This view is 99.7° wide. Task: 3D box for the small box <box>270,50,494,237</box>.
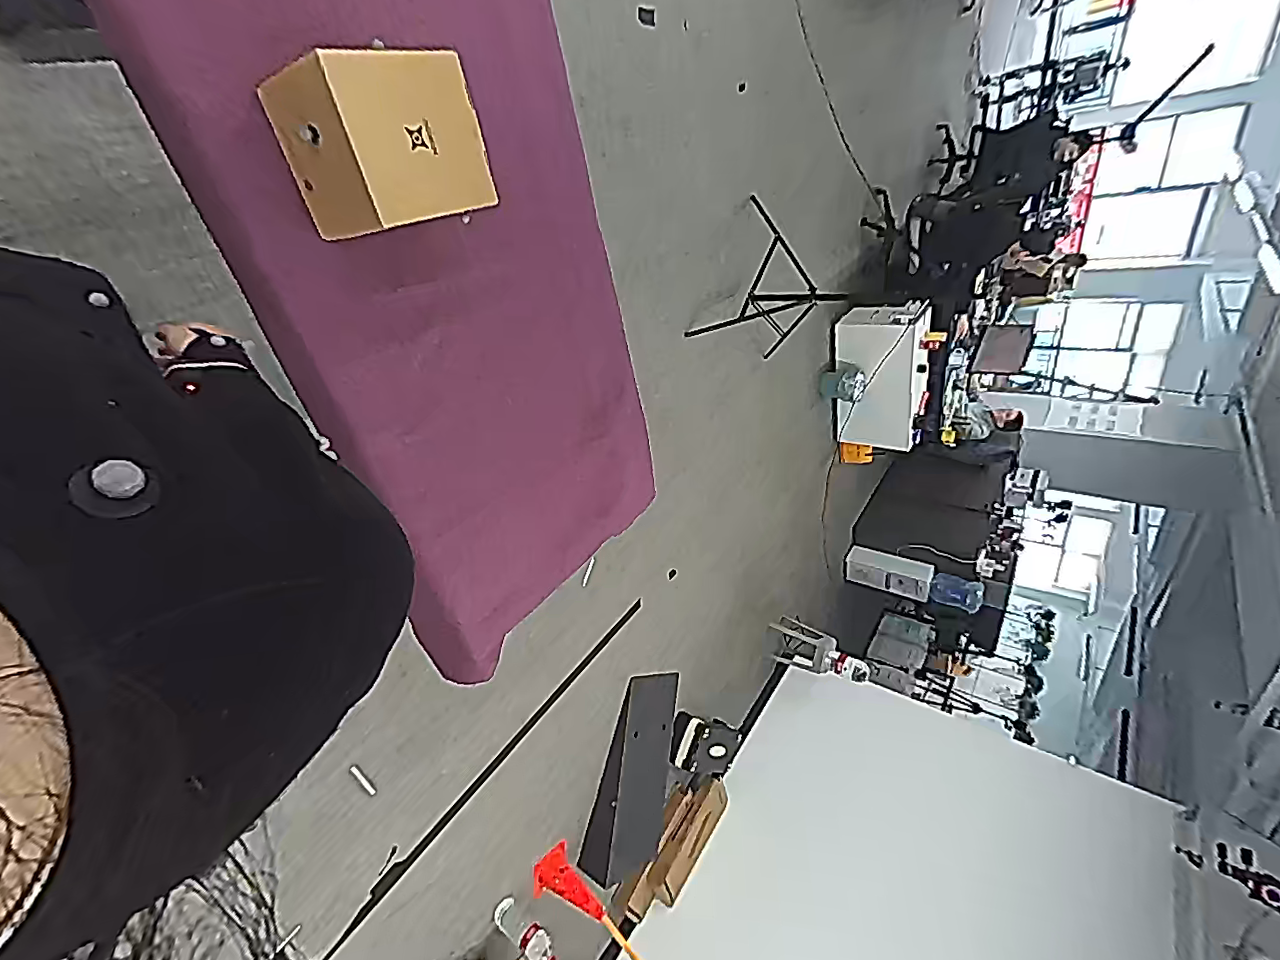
[{"bbox_3d":[-0.323,-0.414,0.678,0.179,0.176,0.168,-41,131,-40],"label":"small box"}]
